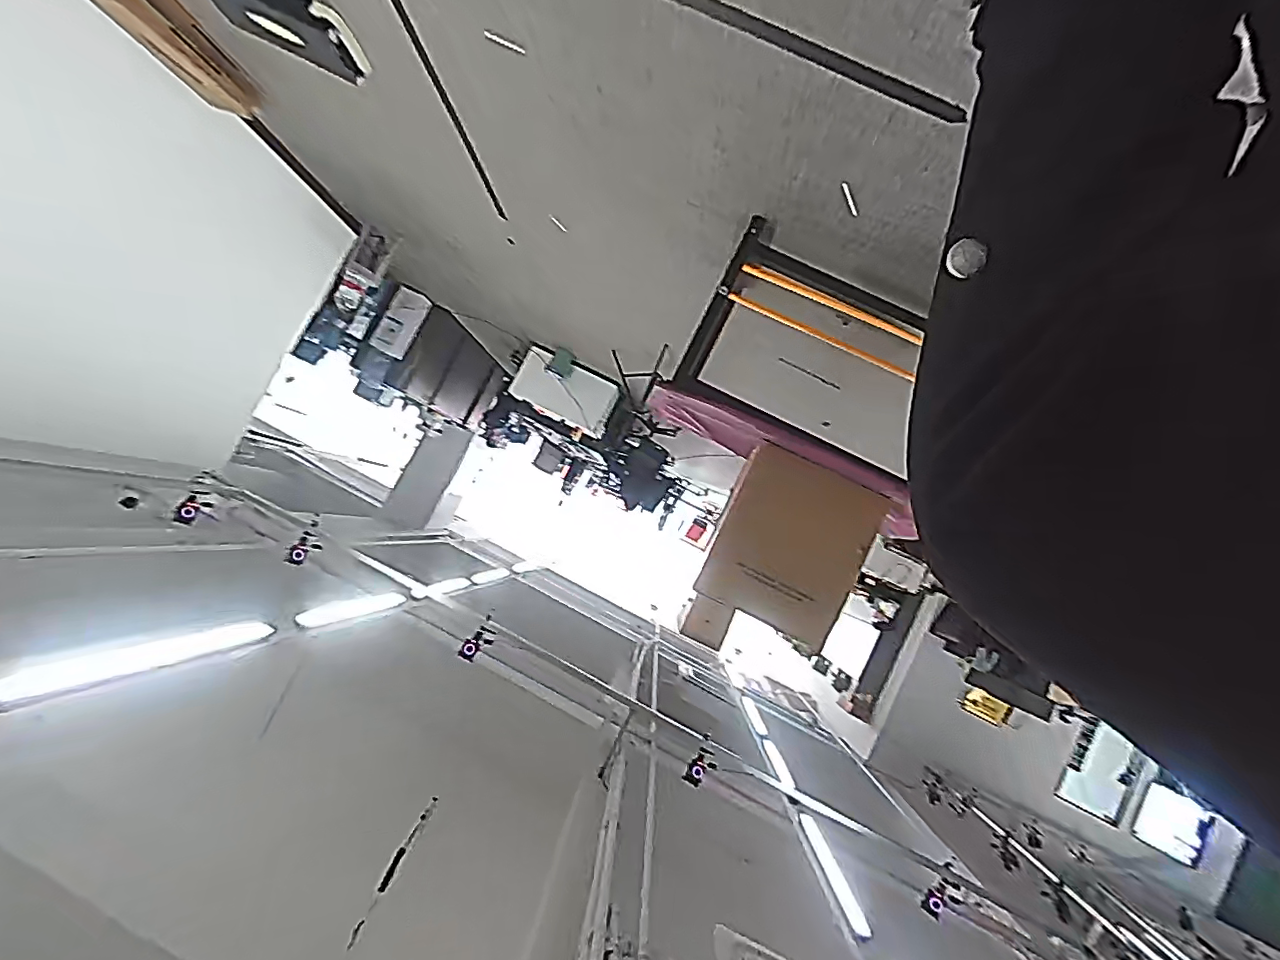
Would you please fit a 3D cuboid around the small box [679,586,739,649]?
[{"bbox_3d":[0.258,0.523,2.057,0.168,0.176,0.179,26,175,3],"label":"small box"}]

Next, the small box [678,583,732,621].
[{"bbox_3d":[0.274,0.547,2.269,0.168,0.176,0.179,26,176,4],"label":"small box"}]
